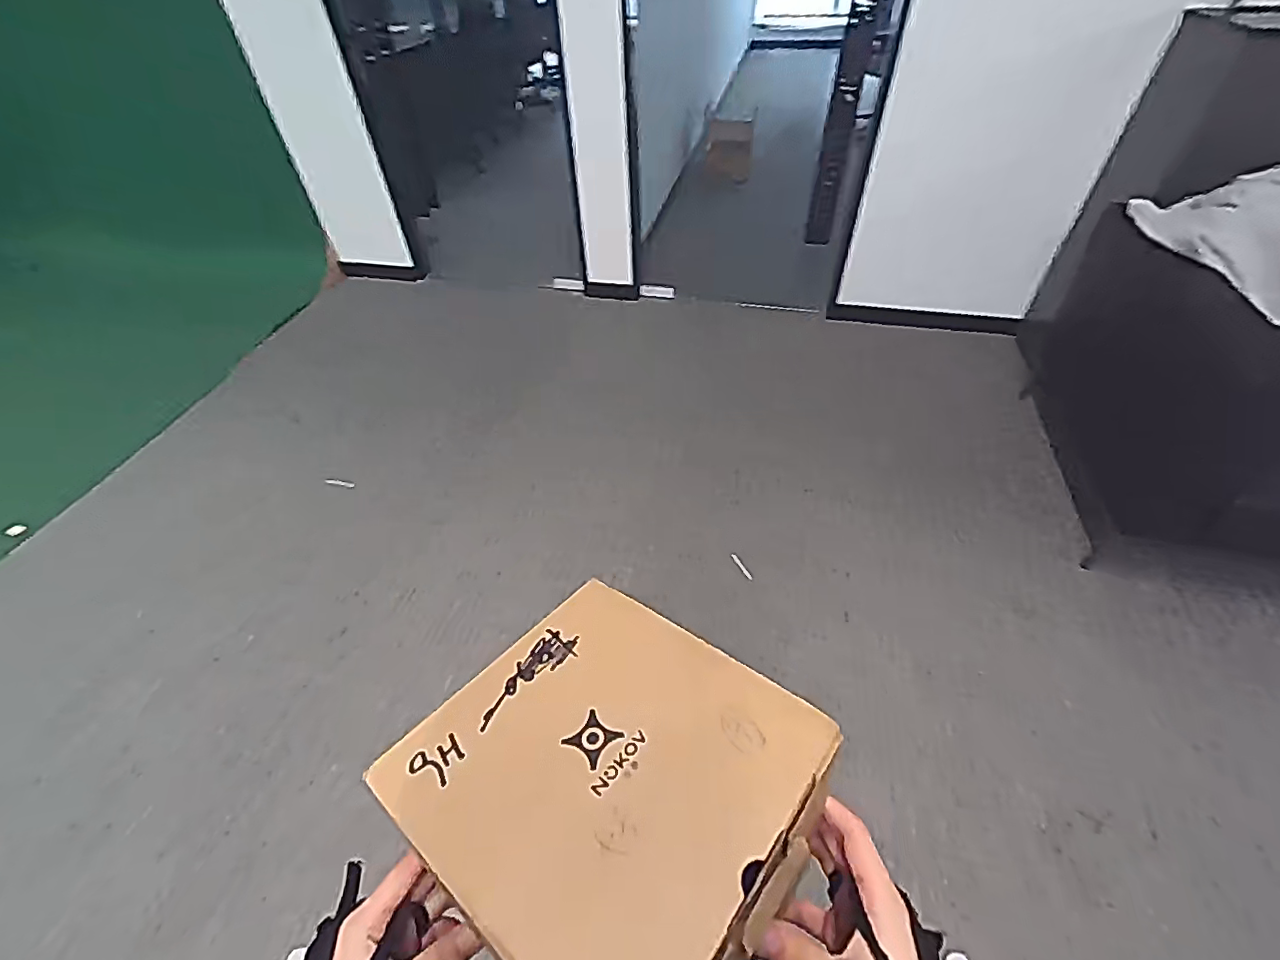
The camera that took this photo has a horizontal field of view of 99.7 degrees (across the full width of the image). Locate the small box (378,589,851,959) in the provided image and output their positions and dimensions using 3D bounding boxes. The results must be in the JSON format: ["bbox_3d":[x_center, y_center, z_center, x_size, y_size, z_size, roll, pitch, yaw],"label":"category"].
[{"bbox_3d":[-0.009,0.205,0.312,0.179,0.176,0.168,25,44,34],"label":"small box"}]
